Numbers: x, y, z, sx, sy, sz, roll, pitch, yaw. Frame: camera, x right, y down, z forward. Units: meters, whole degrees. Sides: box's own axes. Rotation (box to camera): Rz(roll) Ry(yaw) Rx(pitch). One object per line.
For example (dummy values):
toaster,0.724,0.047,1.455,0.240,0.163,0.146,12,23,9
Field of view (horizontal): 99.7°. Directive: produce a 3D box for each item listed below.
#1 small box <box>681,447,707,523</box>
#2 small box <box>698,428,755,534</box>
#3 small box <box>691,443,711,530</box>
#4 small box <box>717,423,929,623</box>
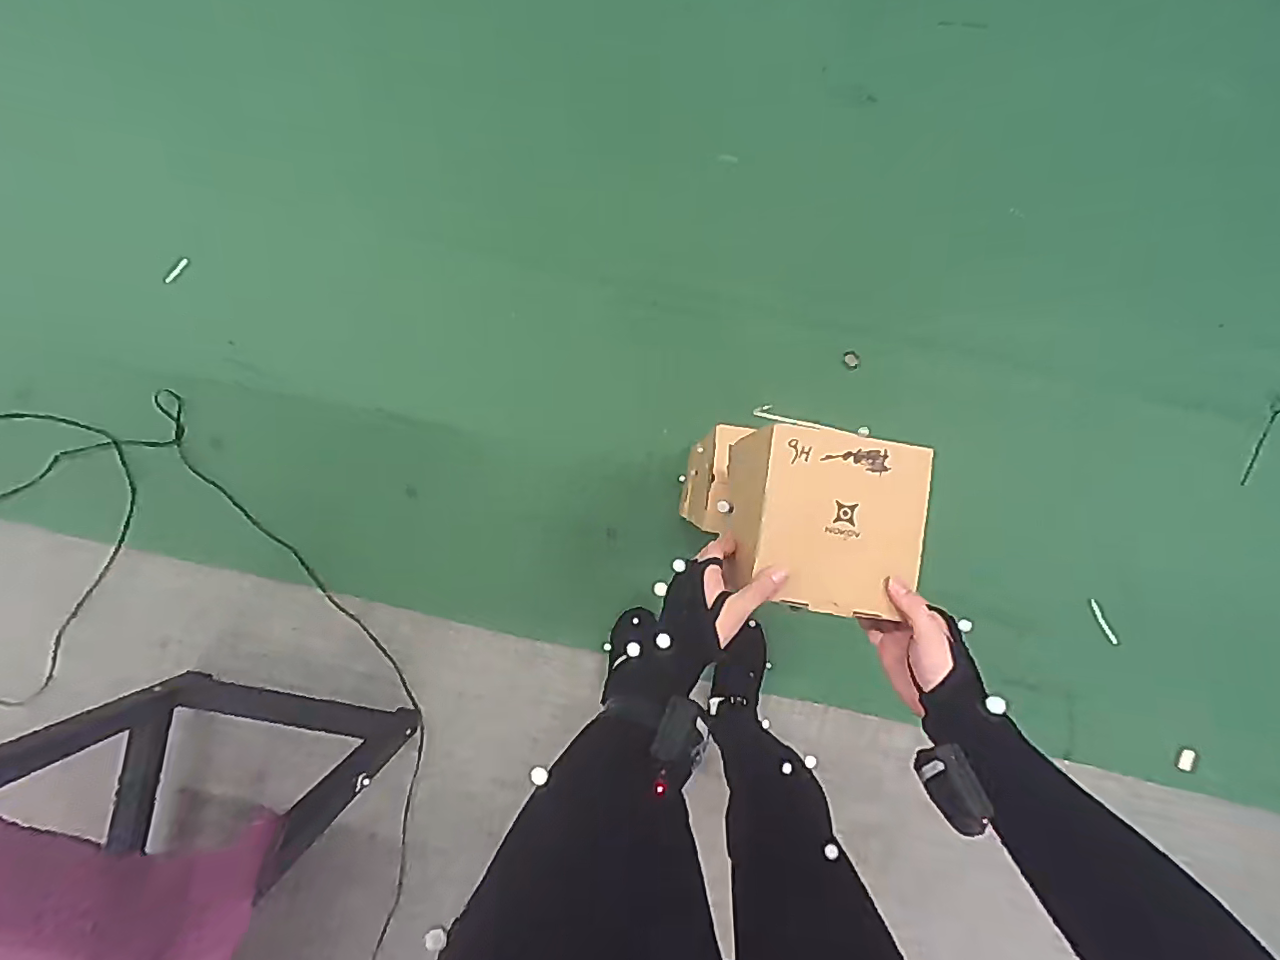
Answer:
small box,0.197,0.028,1.221,0.179,0.176,0.168,13,89,2
small box,0.195,0.015,0.895,0.179,0.176,0.168,8,89,1
small box,0.201,0.023,1.060,0.179,0.176,0.168,10,89,3
small box,0.189,0.046,0.610,0.168,0.176,0.179,9,87,-3
